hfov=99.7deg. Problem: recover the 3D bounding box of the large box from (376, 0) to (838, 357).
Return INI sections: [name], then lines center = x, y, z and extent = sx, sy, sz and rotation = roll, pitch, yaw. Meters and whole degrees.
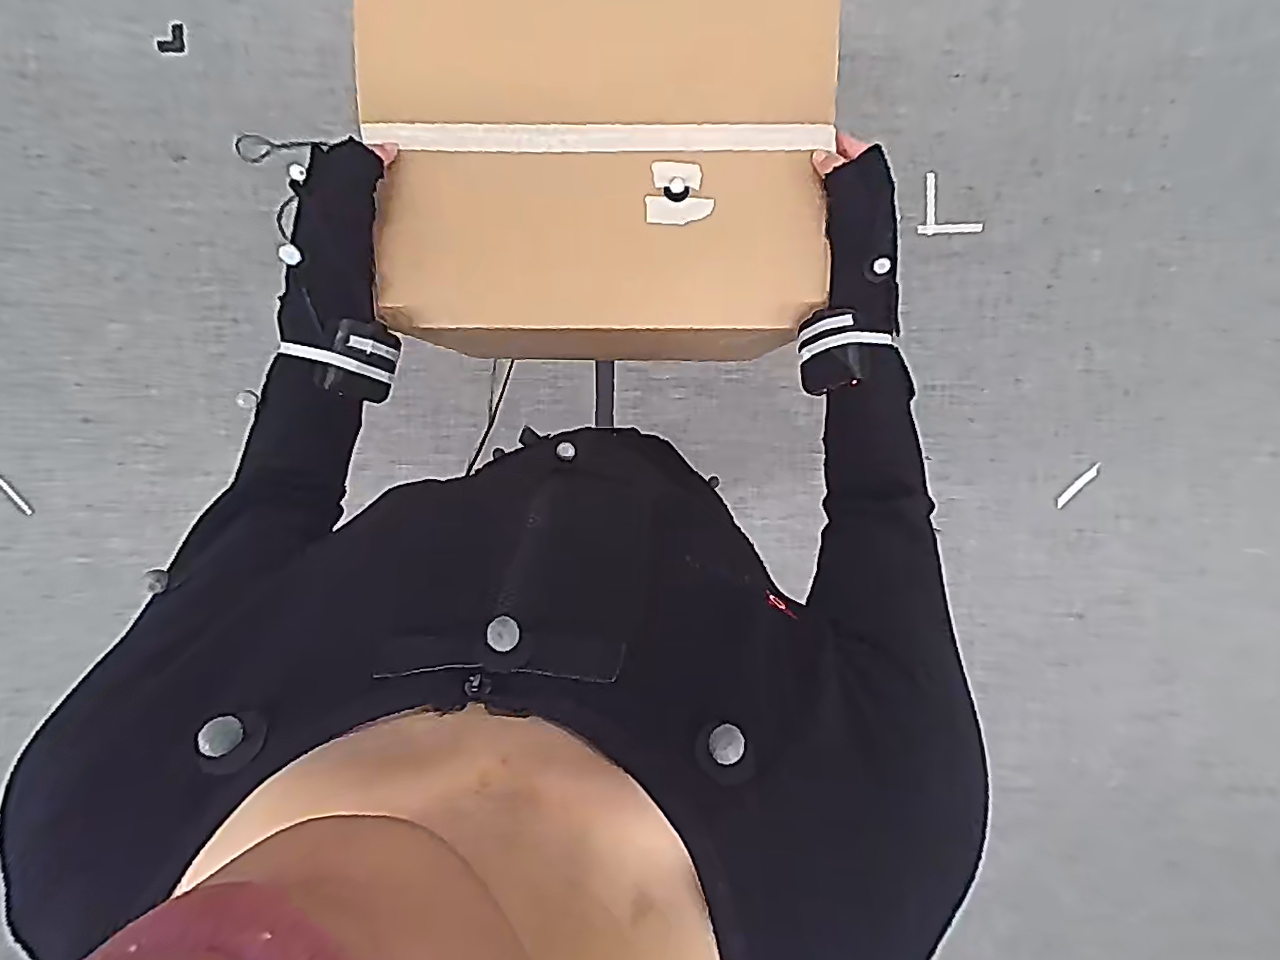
[large box]
center = -0.030, -0.319, 0.624
extent = 0.408, 0.320, 0.320
rotation = 0, 97, -1
